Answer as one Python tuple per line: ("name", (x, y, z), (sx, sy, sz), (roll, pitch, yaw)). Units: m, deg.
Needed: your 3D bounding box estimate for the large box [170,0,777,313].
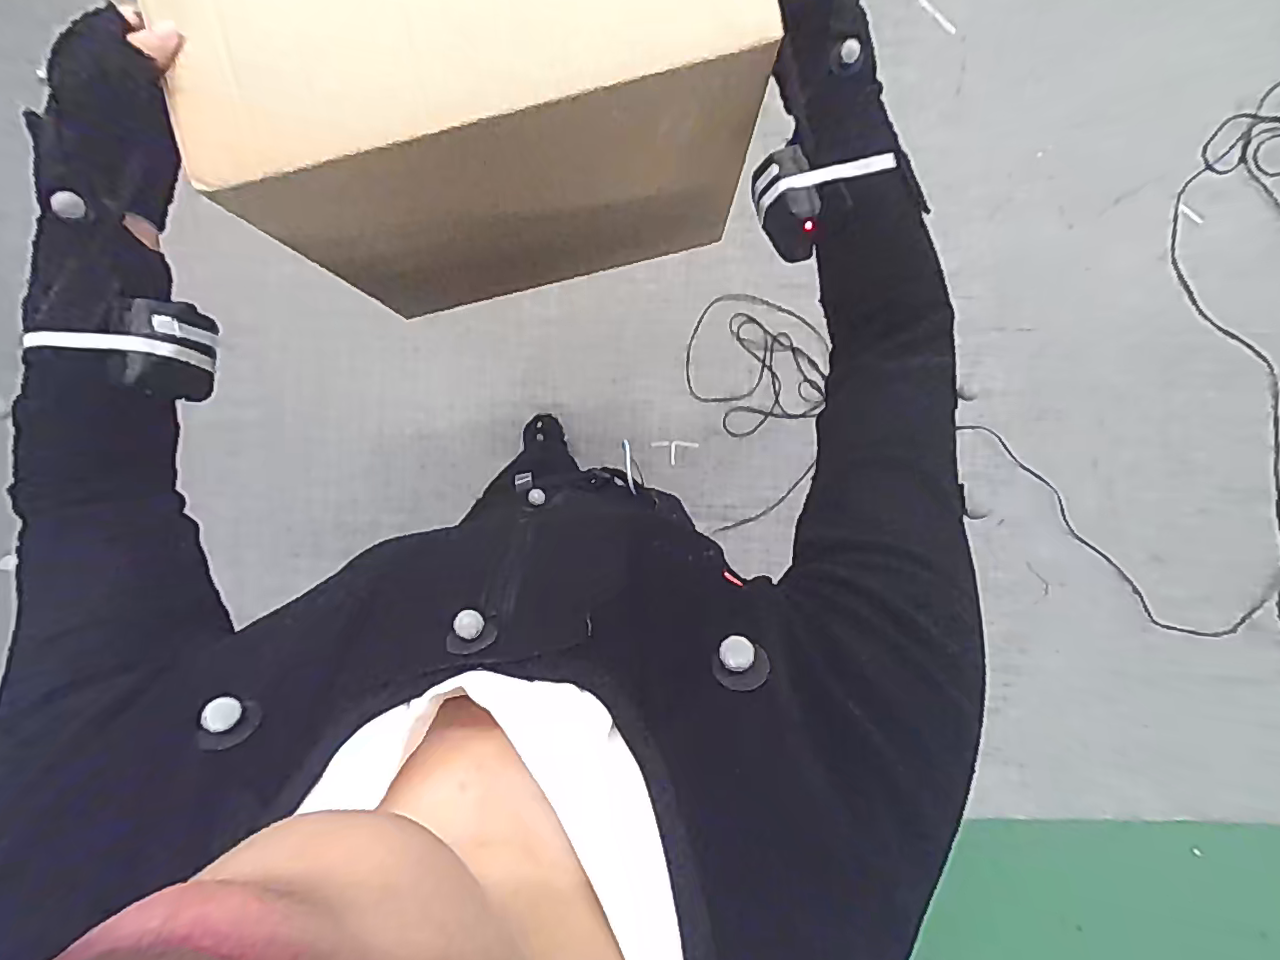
("large box", (-0.133, -0.397, 0.516), (0.408, 0.320, 0.320), (-14, 91, 1))
